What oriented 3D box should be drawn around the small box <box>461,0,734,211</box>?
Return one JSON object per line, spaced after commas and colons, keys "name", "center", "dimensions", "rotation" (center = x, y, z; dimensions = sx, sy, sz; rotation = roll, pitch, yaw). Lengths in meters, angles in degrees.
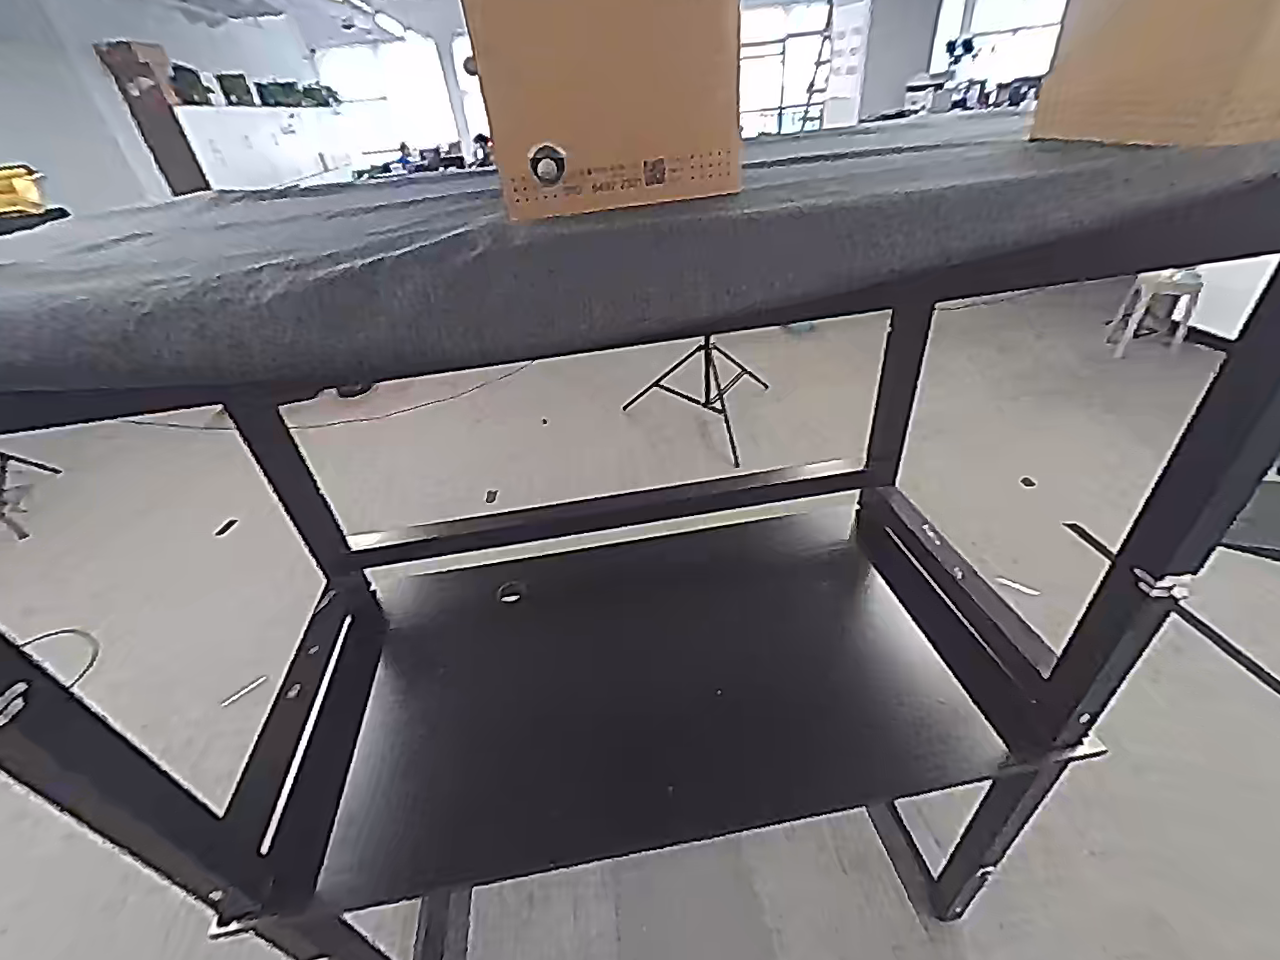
{"name": "small box", "center": [-0.031, -0.303, 0.399], "dimensions": [0.168, 0.176, 0.179], "rotation": [-9, 33, -5]}
